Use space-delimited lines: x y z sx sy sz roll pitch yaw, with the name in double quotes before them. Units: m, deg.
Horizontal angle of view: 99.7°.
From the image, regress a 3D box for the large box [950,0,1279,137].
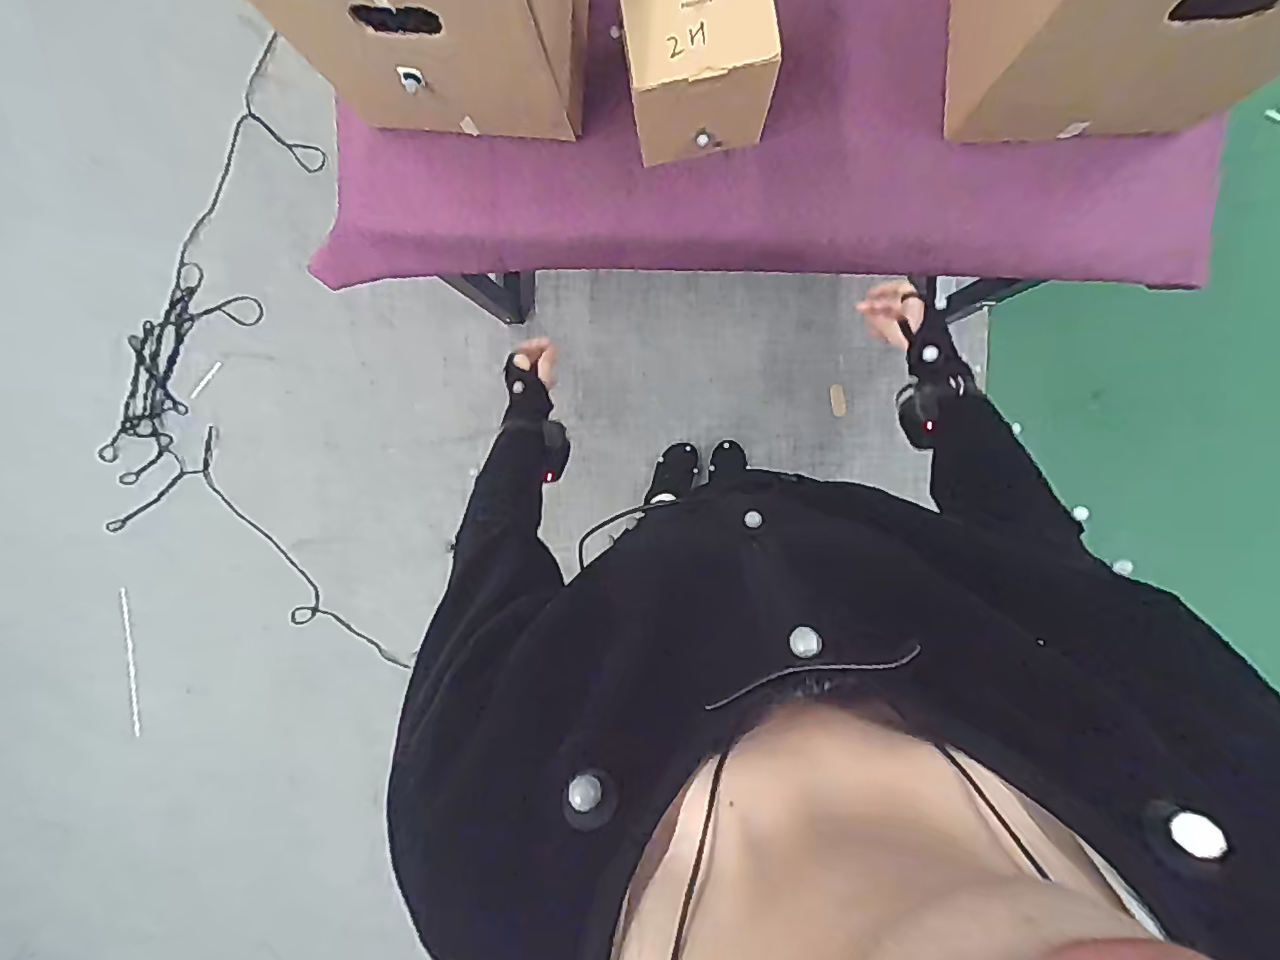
"large box" 0.553 -0.650 0.559 0.320 0.320 0.408 1 95 6
